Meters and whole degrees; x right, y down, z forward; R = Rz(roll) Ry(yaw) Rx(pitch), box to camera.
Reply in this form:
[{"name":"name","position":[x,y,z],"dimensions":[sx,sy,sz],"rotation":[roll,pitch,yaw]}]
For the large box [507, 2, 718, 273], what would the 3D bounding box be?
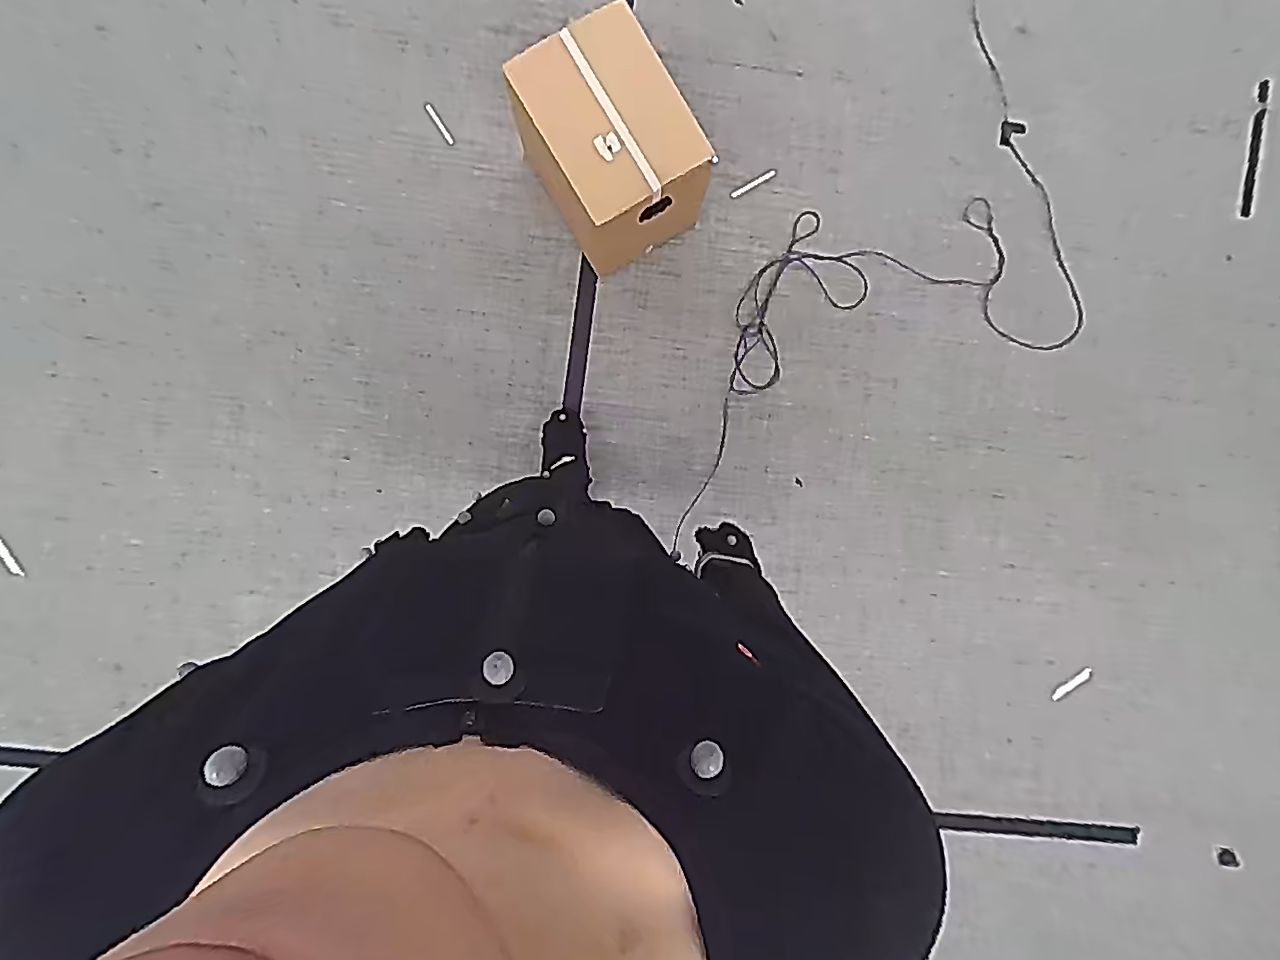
[{"name":"large box","position":[-0.070,-0.805,1.329],"dimensions":[0.320,0.320,0.408],"rotation":[-31,93,-2]}]
